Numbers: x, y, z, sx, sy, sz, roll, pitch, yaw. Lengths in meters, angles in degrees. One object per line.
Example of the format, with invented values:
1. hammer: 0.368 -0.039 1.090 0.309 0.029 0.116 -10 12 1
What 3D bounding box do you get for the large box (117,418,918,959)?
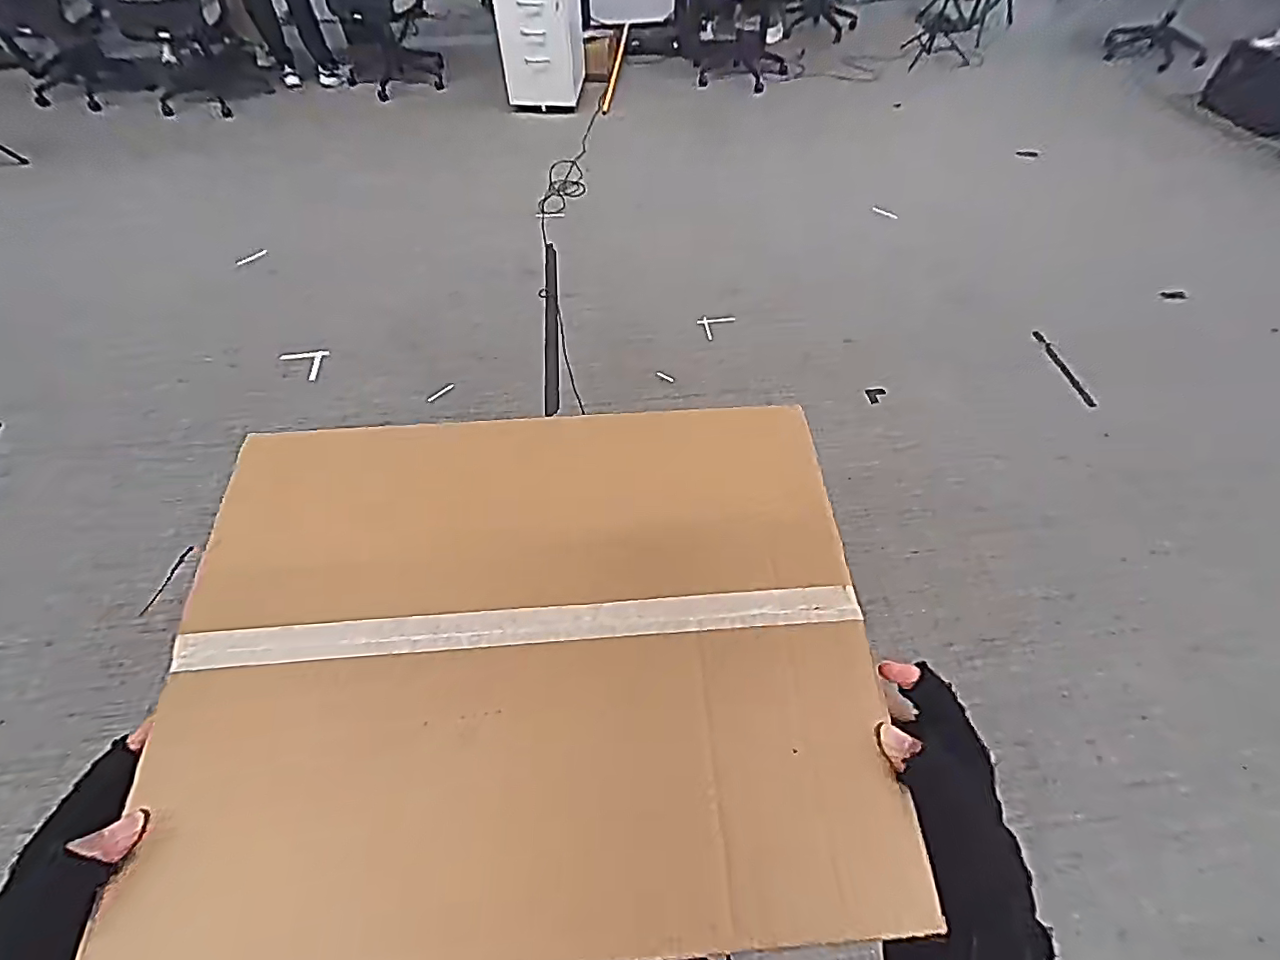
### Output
1. large box: -0.068 0.171 0.467 0.408 0.320 0.320 -4 61 -3
